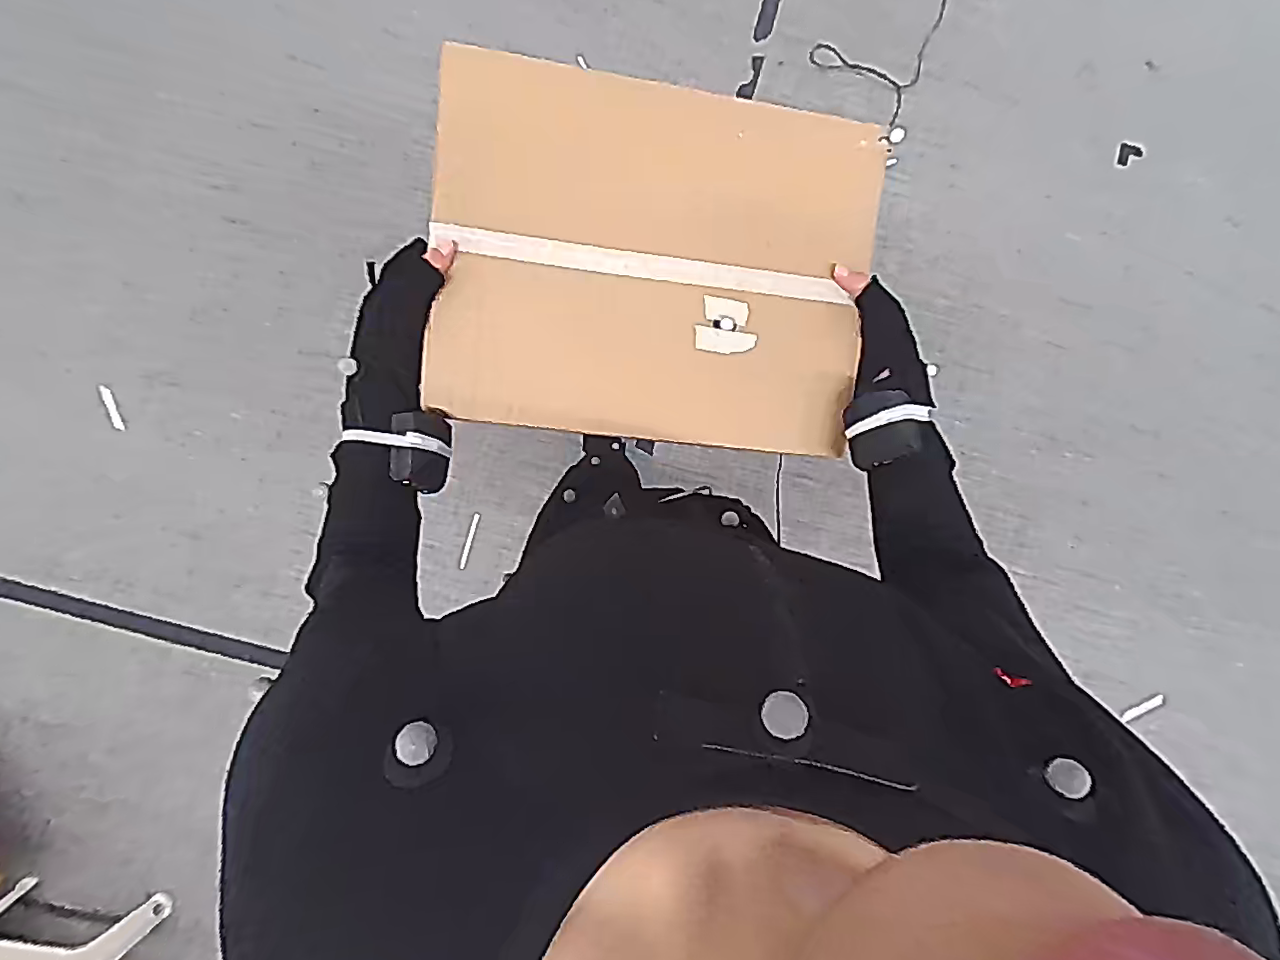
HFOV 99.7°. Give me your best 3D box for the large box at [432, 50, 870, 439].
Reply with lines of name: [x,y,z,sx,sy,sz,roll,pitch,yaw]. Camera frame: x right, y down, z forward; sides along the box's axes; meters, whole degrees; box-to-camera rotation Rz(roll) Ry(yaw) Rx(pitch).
large box: [-0.007,-0.225,0.656,0.408,0.320,0.320,5,97,-9]
